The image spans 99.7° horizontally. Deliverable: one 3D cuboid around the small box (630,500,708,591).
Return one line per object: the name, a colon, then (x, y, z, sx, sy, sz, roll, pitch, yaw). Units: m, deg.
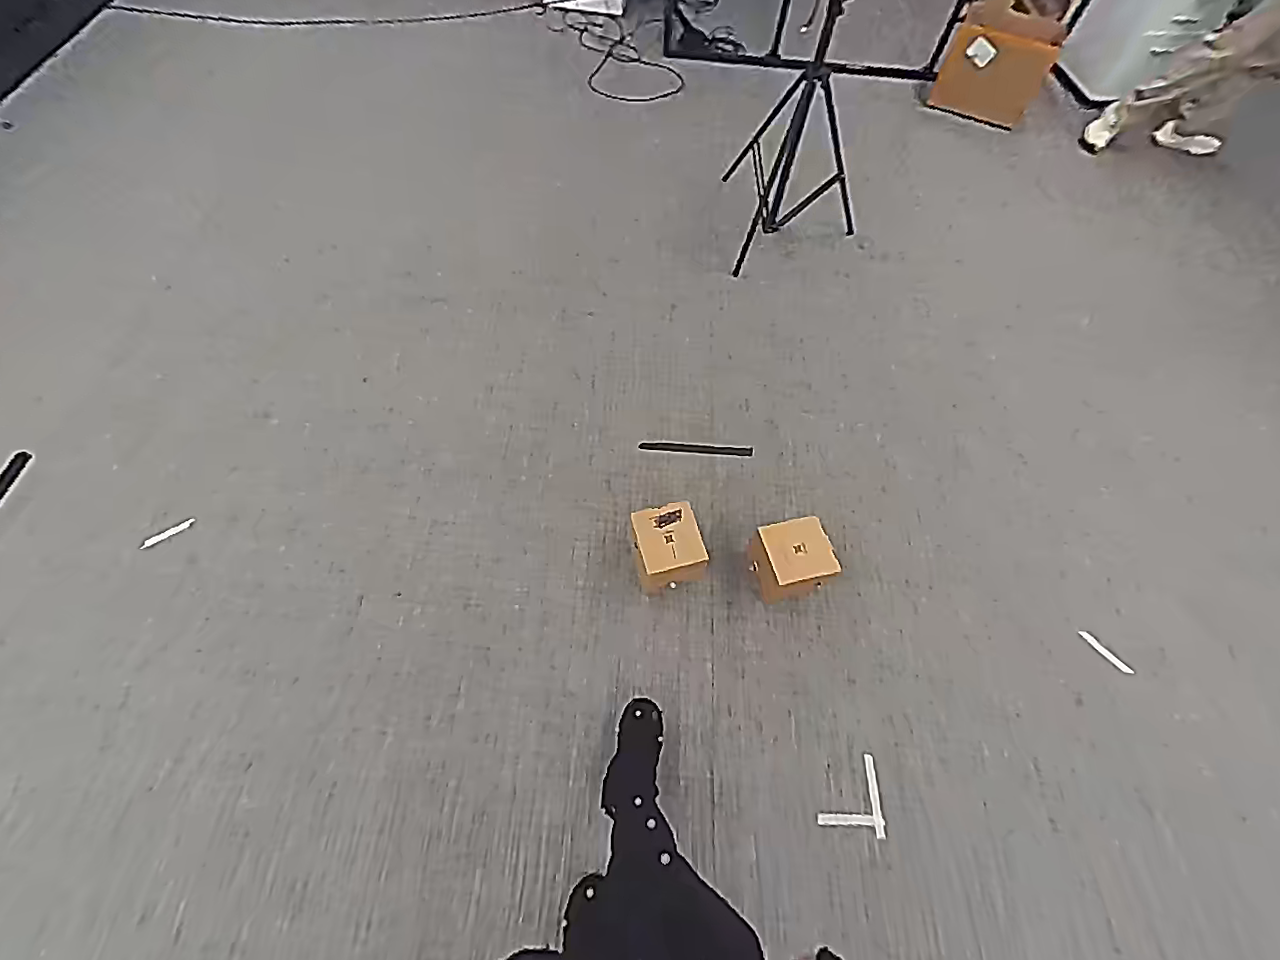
small box: (0.071, 0.180, 1.472, 0.168, 0.176, 0.179, -13, 64, -9)

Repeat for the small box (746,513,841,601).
small box: (0.410, 0.213, 1.475, 0.179, 0.176, 0.168, -12, 62, -9)
